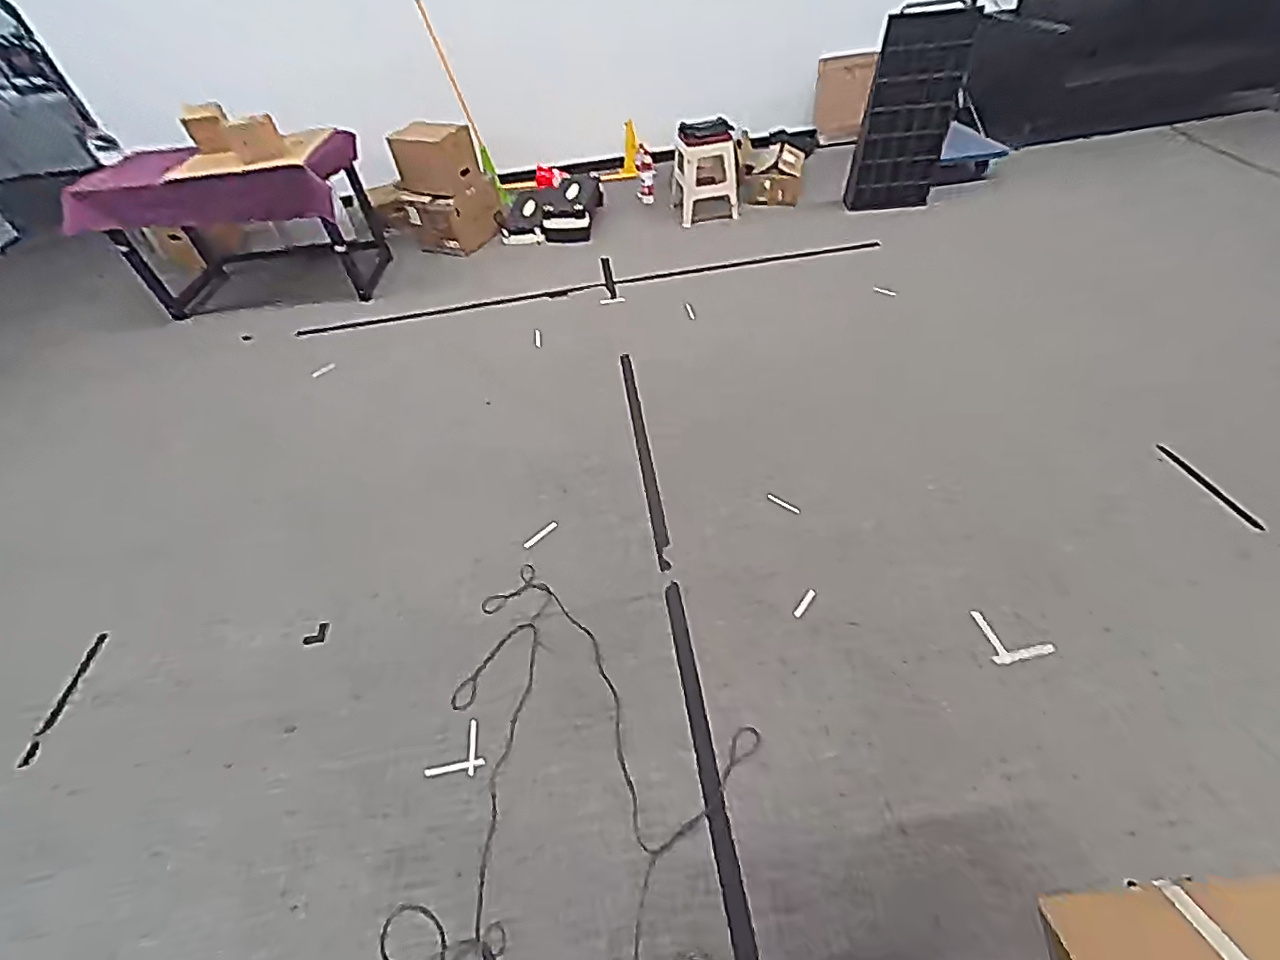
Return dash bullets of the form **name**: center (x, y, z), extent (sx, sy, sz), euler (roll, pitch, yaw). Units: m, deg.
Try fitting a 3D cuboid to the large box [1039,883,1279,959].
- **large box**: center (0.681, 0.697, 0.514), extent (0.320, 0.320, 0.408), euler (-14, 4, 10)
